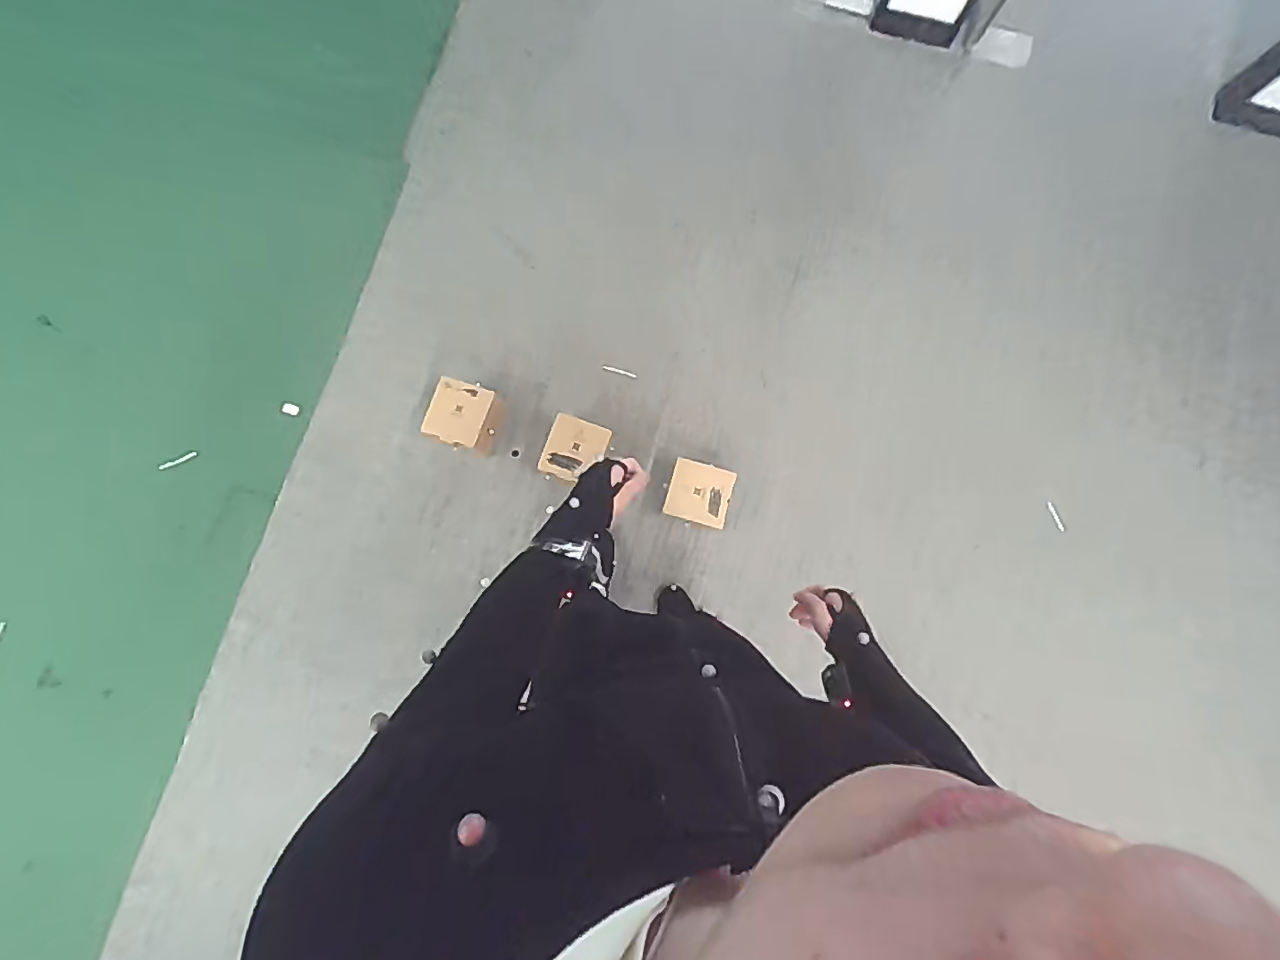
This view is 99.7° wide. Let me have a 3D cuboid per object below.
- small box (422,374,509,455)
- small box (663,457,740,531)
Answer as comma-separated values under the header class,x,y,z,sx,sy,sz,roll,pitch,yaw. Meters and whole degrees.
class,x,y,z,sx,sy,sz,roll,pitch,yaw
small box,-0.507,-0.185,1.600,0.168,0.176,0.179,19,83,3
small box,0.172,0.046,1.562,0.179,0.176,0.168,17,83,3
